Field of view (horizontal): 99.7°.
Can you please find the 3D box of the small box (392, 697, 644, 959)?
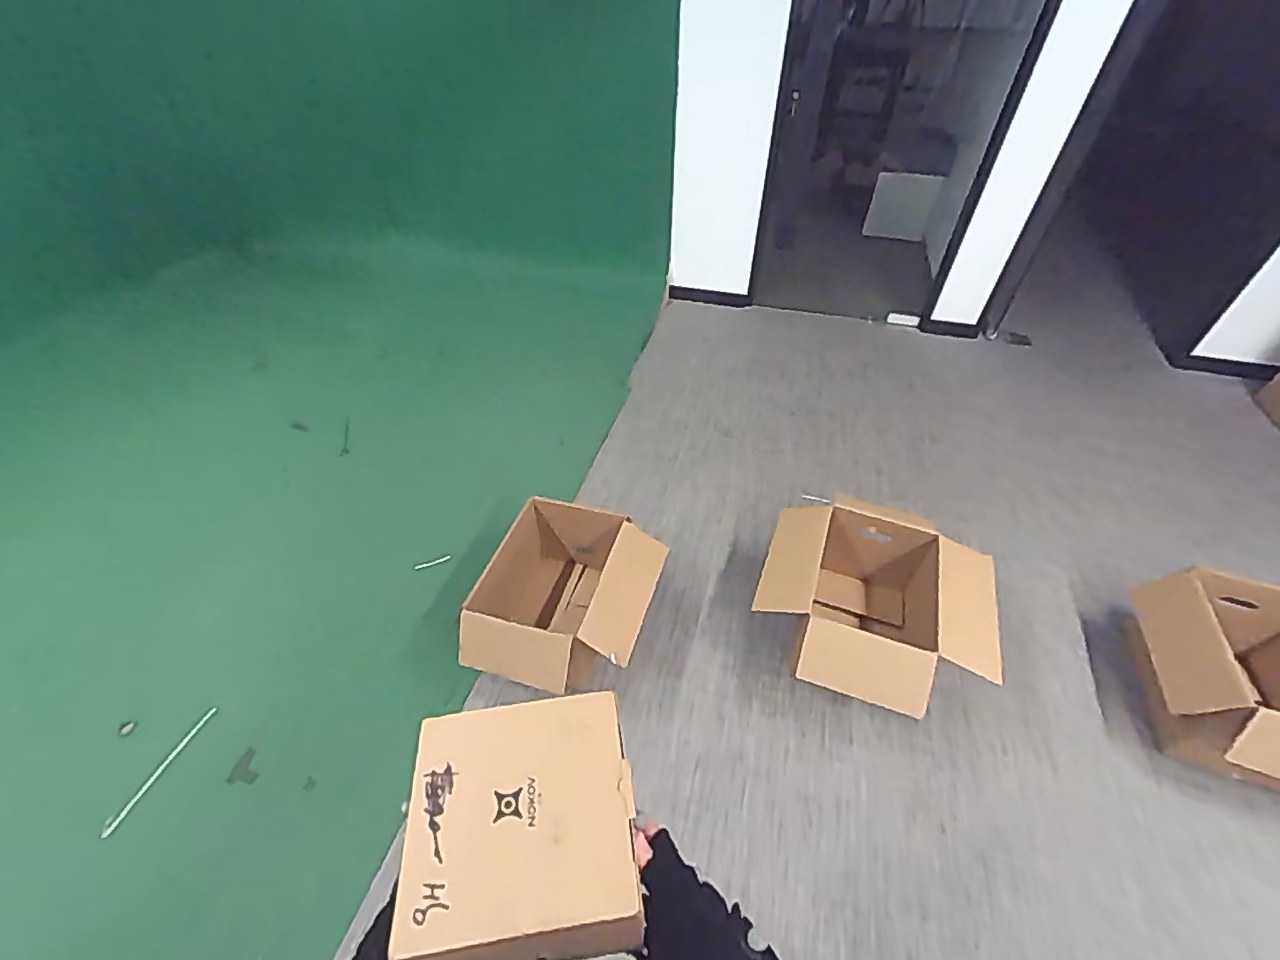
[{"bbox_3d":[-0.095,0.320,0.489,0.179,0.176,0.168,-5,42,-6],"label":"small box"}]
